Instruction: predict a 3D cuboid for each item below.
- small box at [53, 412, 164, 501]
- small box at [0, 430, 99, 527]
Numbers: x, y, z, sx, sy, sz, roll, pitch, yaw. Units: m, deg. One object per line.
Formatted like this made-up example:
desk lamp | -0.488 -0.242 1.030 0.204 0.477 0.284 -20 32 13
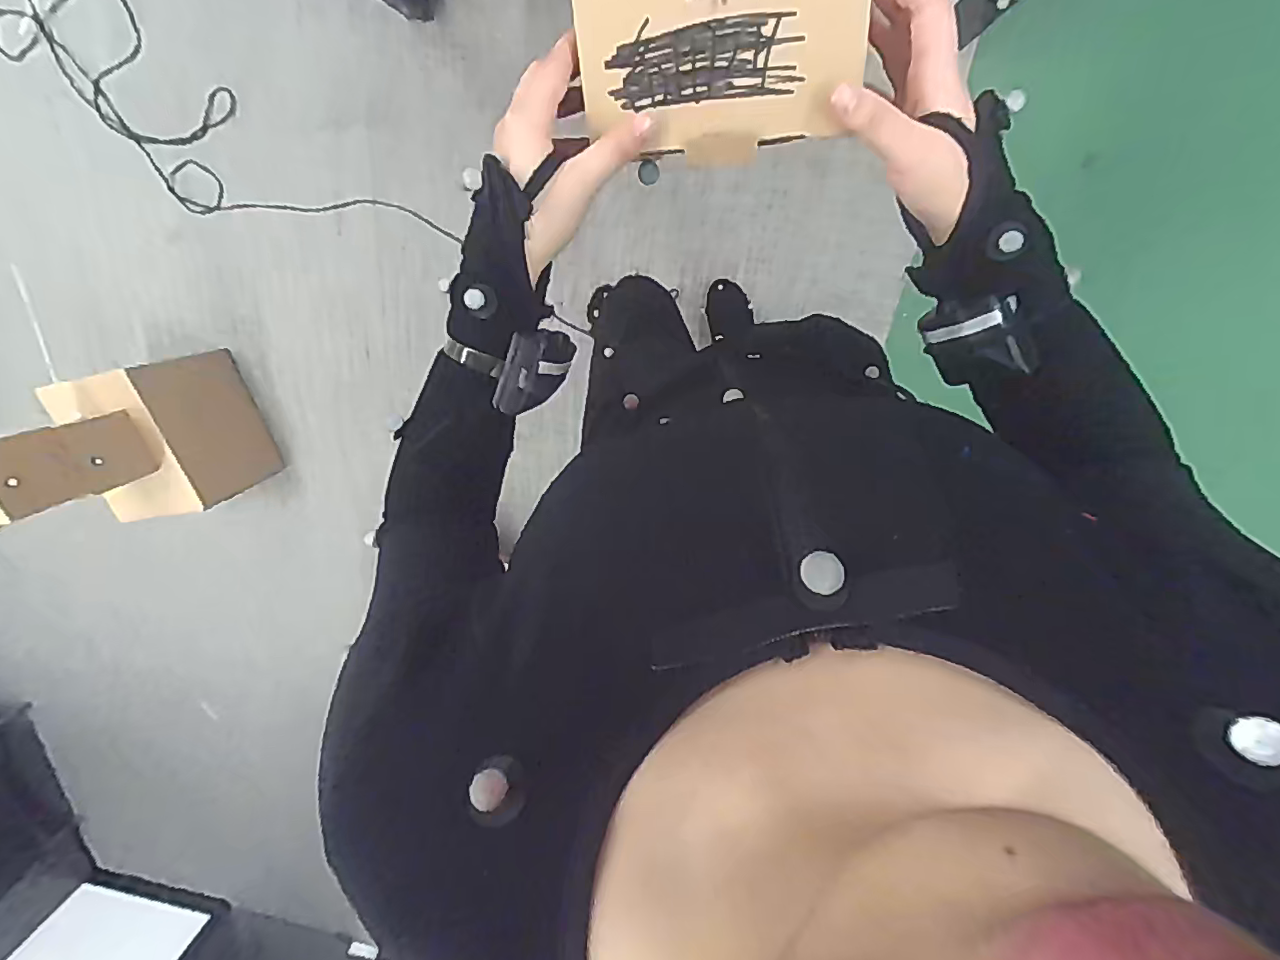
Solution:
small box | -1.378 -0.057 1.372 0.168 0.176 0.179 -8 111 12
small box | -1.405 -0.006 1.219 0.168 0.176 0.179 -8 112 11
